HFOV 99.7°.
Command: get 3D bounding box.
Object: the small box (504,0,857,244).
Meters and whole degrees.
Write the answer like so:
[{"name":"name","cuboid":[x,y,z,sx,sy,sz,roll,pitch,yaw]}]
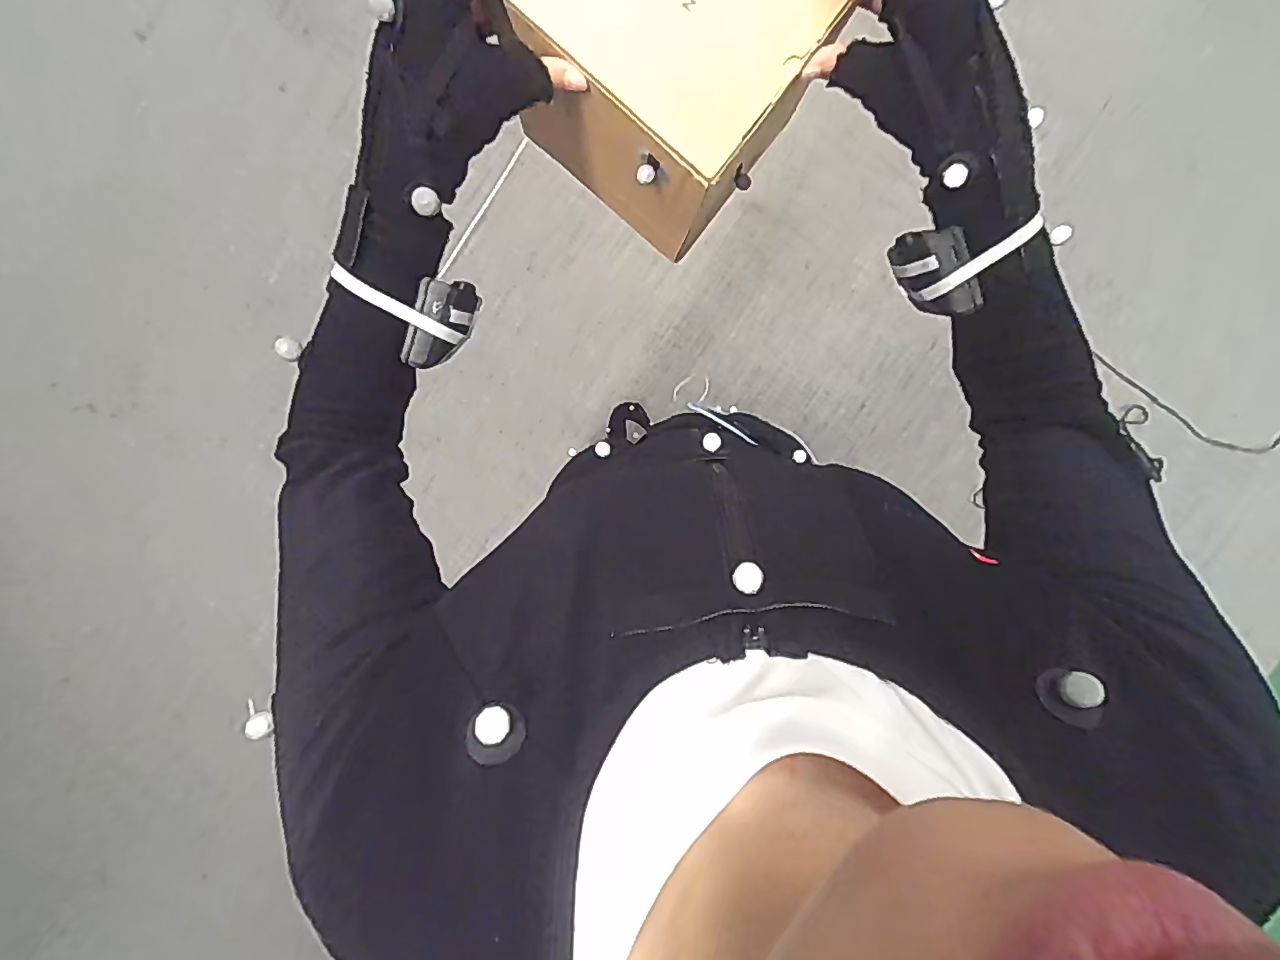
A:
[{"name":"small box","cuboid":[0.020,-0.311,0.402,0.179,0.176,0.168,39,92,-8]}]
